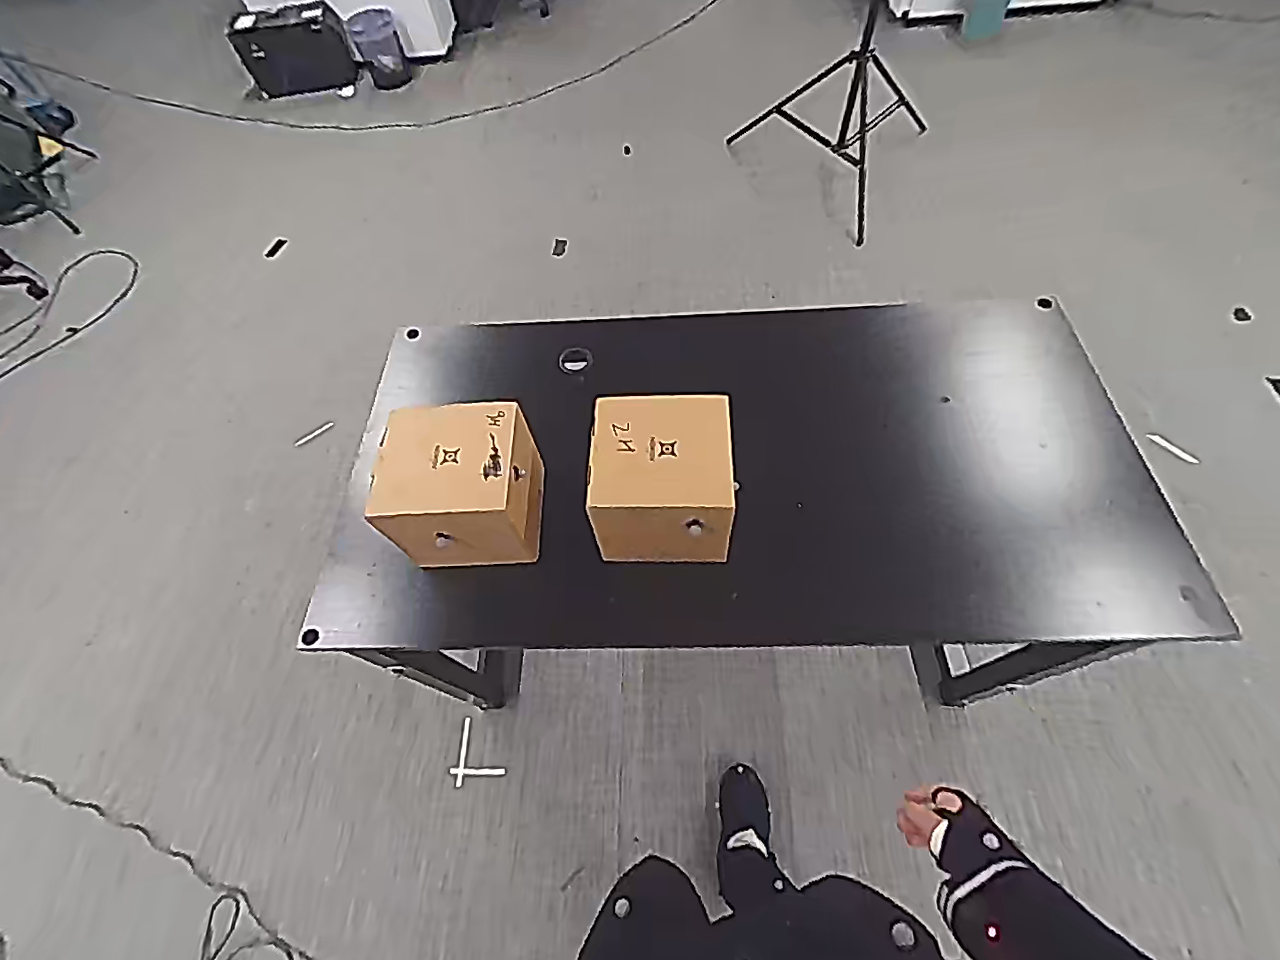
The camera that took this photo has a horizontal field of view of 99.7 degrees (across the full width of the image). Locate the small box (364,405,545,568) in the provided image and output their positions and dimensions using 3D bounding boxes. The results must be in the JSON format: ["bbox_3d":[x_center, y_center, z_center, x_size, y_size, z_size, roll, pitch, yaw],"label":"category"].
[{"bbox_3d":[-0.243,0.016,0.755,0.179,0.176,0.168,-4,59,3],"label":"small box"}]

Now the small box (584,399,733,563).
[{"bbox_3d":[0.029,0.007,0.736,0.179,0.176,0.168,-1,59,5],"label":"small box"}]
